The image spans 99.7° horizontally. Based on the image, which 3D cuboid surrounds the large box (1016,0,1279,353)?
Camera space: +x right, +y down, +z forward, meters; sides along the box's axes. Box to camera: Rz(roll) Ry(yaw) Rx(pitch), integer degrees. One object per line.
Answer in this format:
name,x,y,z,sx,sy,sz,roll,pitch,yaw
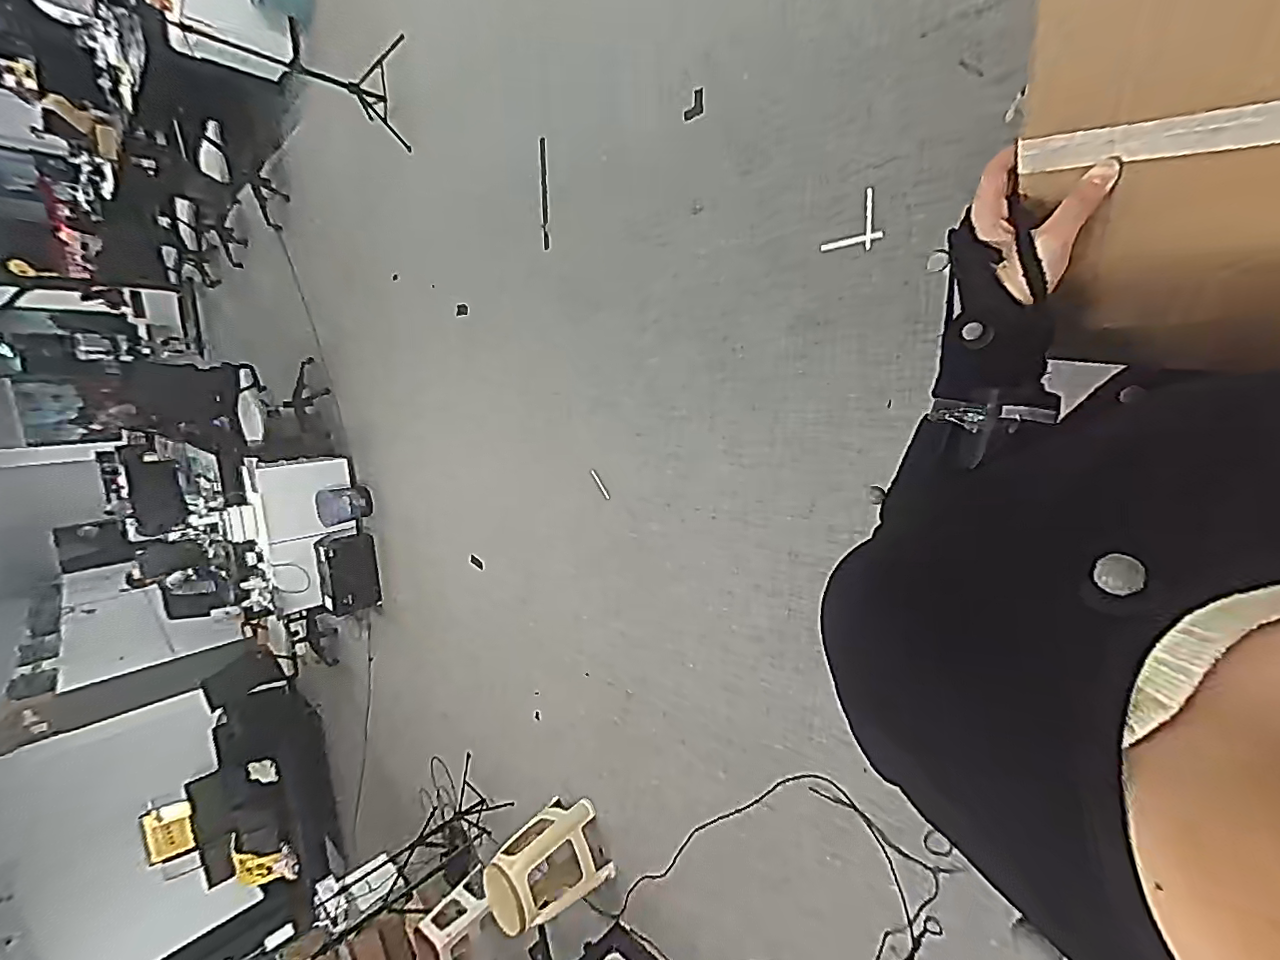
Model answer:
large box,0.491,-0.282,0.299,0.408,0.320,0.320,17,144,42
